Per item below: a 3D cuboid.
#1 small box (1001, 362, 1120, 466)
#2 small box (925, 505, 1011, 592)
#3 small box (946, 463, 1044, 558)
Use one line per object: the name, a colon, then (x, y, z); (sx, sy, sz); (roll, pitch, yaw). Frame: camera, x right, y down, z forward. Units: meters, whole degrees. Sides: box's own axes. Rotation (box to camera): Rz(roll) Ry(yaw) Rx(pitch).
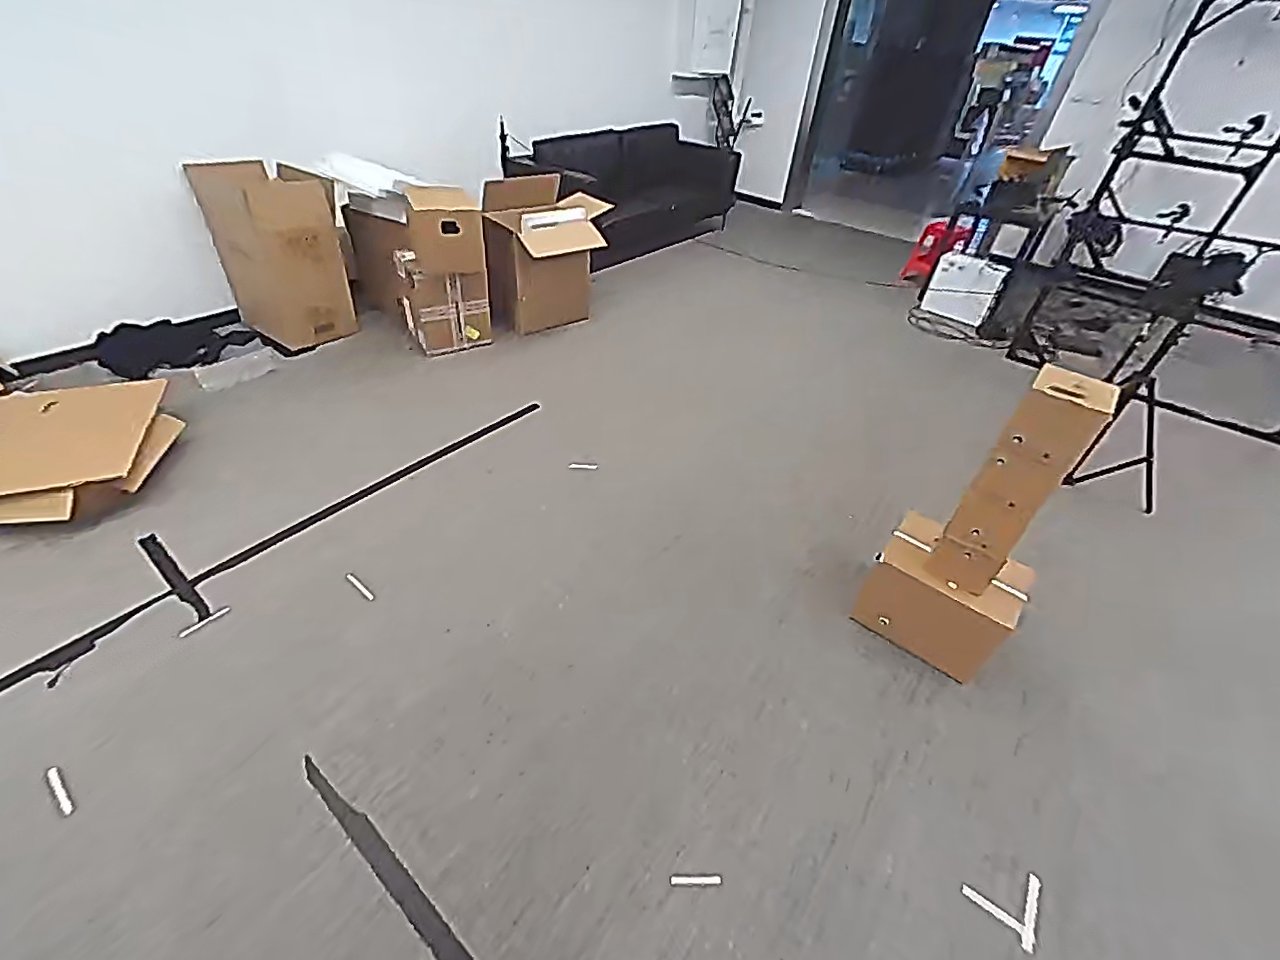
small box: (1.026, -0.161, 1.329); (0.168, 0.176, 0.179); (31, 47, 27)
small box: (1.007, 0.209, 1.651); (0.179, 0.176, 0.168); (29, 47, 25)
small box: (1.008, 0.087, 1.544); (0.168, 0.176, 0.179); (29, 47, 26)
